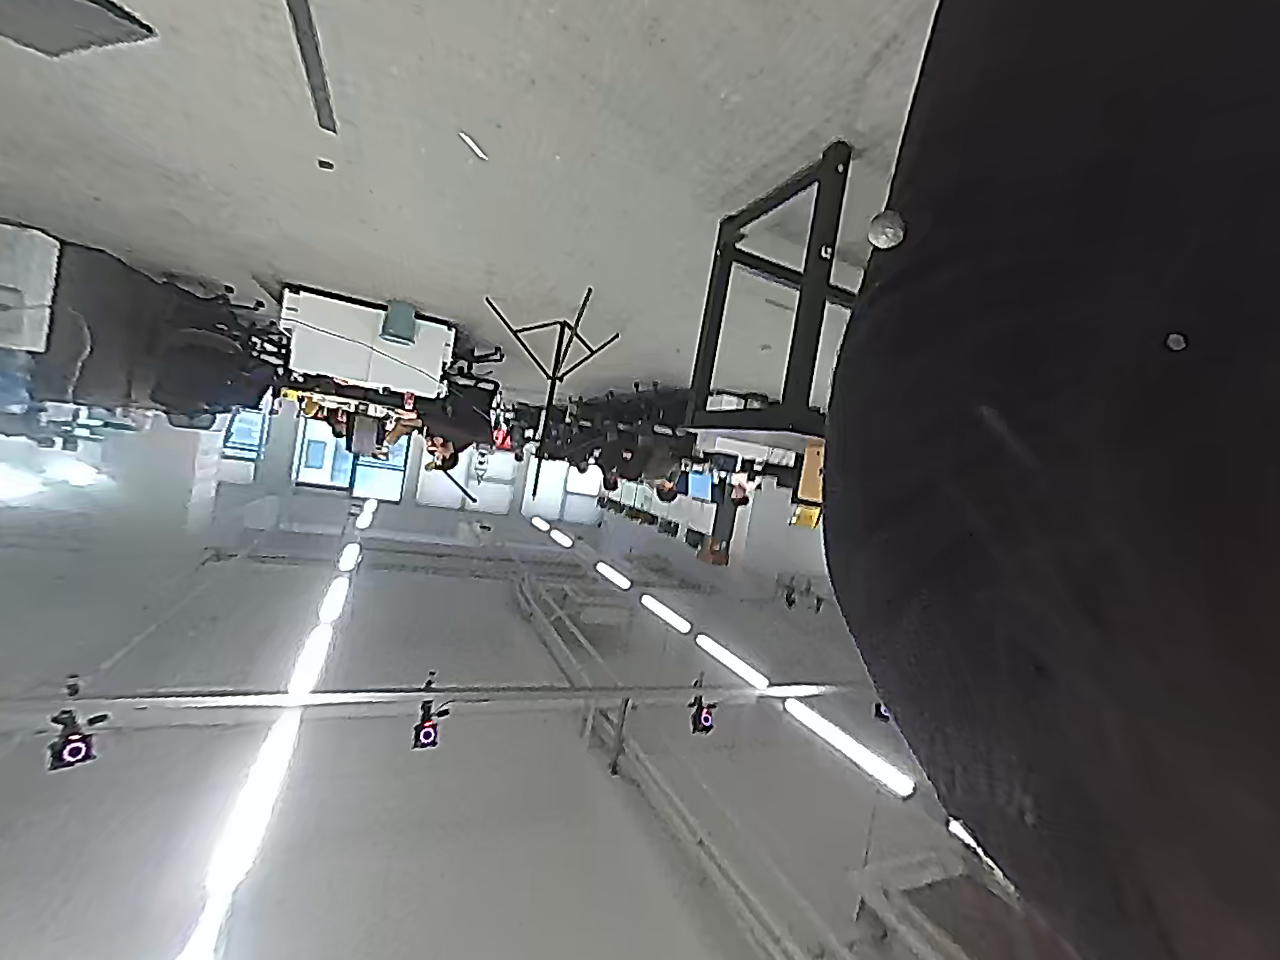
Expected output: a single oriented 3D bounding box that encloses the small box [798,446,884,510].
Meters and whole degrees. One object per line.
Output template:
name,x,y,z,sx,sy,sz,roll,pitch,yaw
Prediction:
small box,0.628,-0.011,1.688,0.179,0.176,0.168,9,-177,-23
